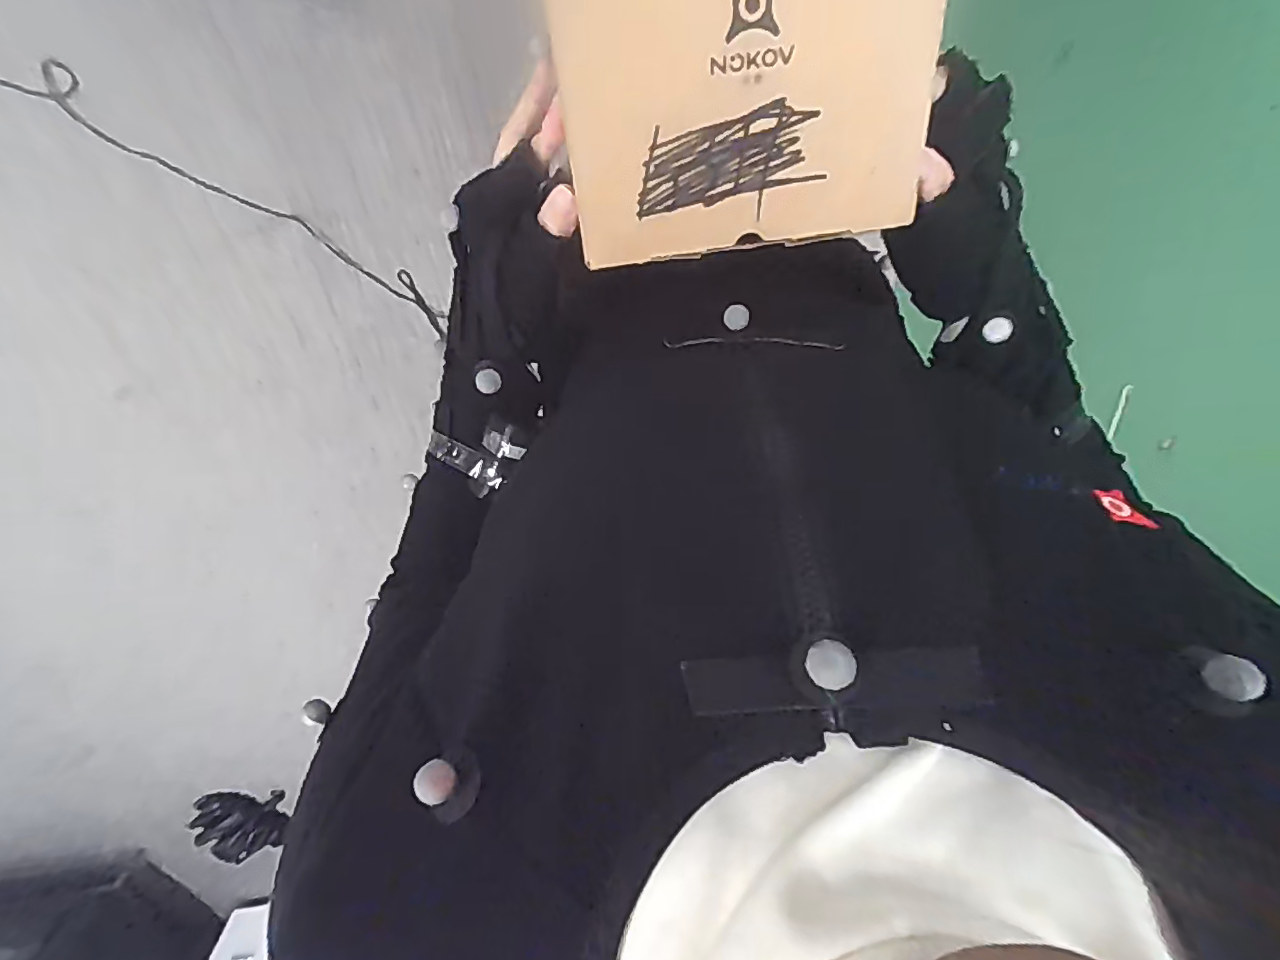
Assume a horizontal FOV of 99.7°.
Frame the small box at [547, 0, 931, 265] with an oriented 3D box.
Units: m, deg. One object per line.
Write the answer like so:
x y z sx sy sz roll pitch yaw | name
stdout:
0.039 -0.238 0.300 0.168 0.176 0.179 -7 126 -1 | small box
